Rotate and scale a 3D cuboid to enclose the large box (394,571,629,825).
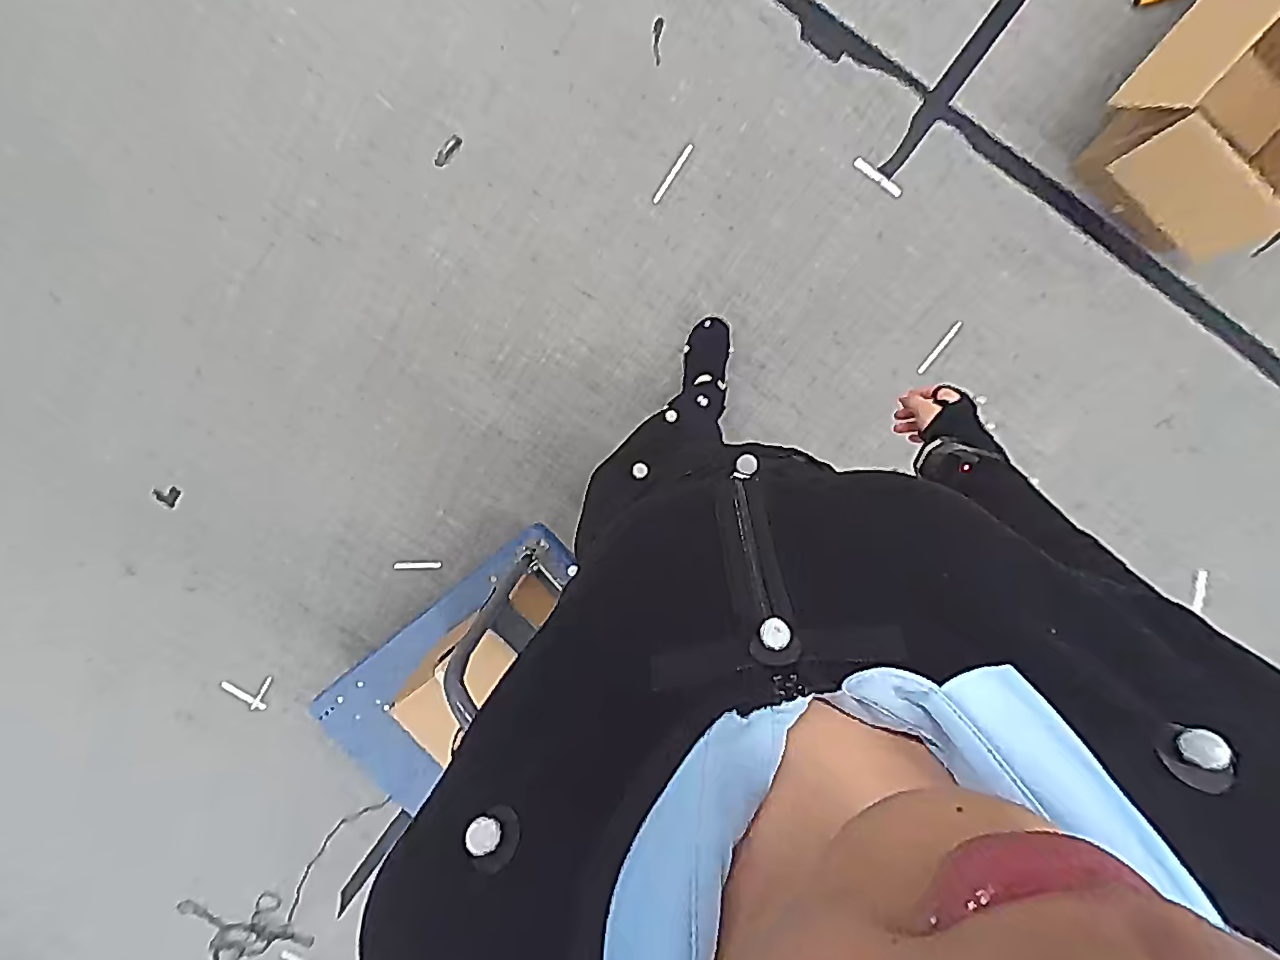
[{"bbox_3d":[-0.276,0.501,1.299,0.320,0.320,0.408,-38,97,9],"label":"large box"}]
